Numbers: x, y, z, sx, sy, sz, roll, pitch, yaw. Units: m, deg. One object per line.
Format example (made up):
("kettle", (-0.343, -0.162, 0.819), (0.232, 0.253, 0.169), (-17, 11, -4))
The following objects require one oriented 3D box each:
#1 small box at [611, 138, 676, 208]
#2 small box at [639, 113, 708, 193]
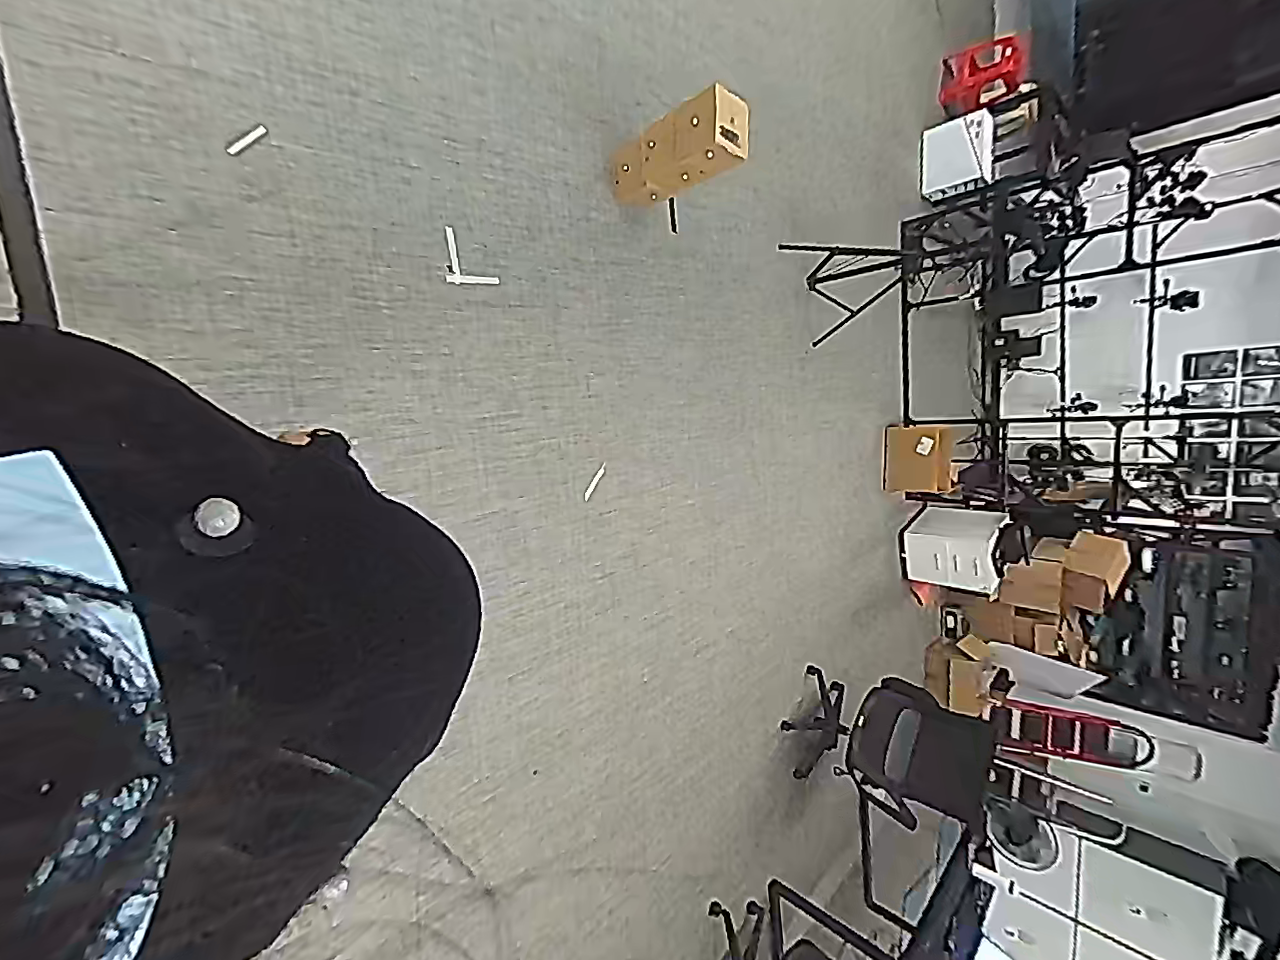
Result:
("small box", (0.005, -1.118, 1.983), (0.179, 0.176, 0.168), (-16, 104, -43))
("small box", (0.115, -1.115, 1.863), (0.179, 0.176, 0.168), (-6, 97, -43))
